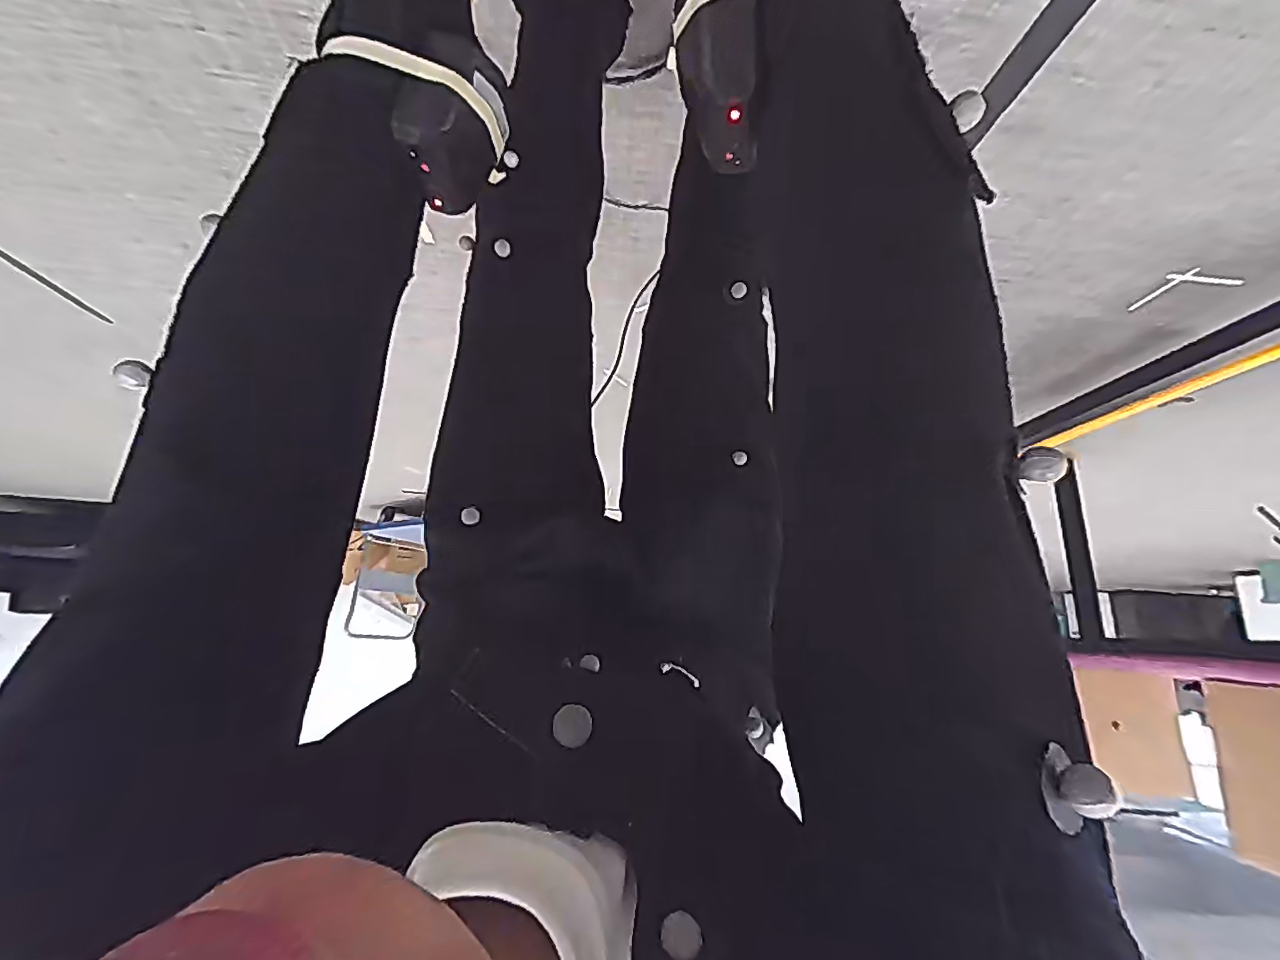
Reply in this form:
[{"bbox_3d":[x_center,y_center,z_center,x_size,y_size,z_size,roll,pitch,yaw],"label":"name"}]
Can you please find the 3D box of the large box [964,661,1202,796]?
[{"bbox_3d":[1.231,0.693,1.551,0.408,0.320,0.320,3,164,-4],"label":"large box"}]
